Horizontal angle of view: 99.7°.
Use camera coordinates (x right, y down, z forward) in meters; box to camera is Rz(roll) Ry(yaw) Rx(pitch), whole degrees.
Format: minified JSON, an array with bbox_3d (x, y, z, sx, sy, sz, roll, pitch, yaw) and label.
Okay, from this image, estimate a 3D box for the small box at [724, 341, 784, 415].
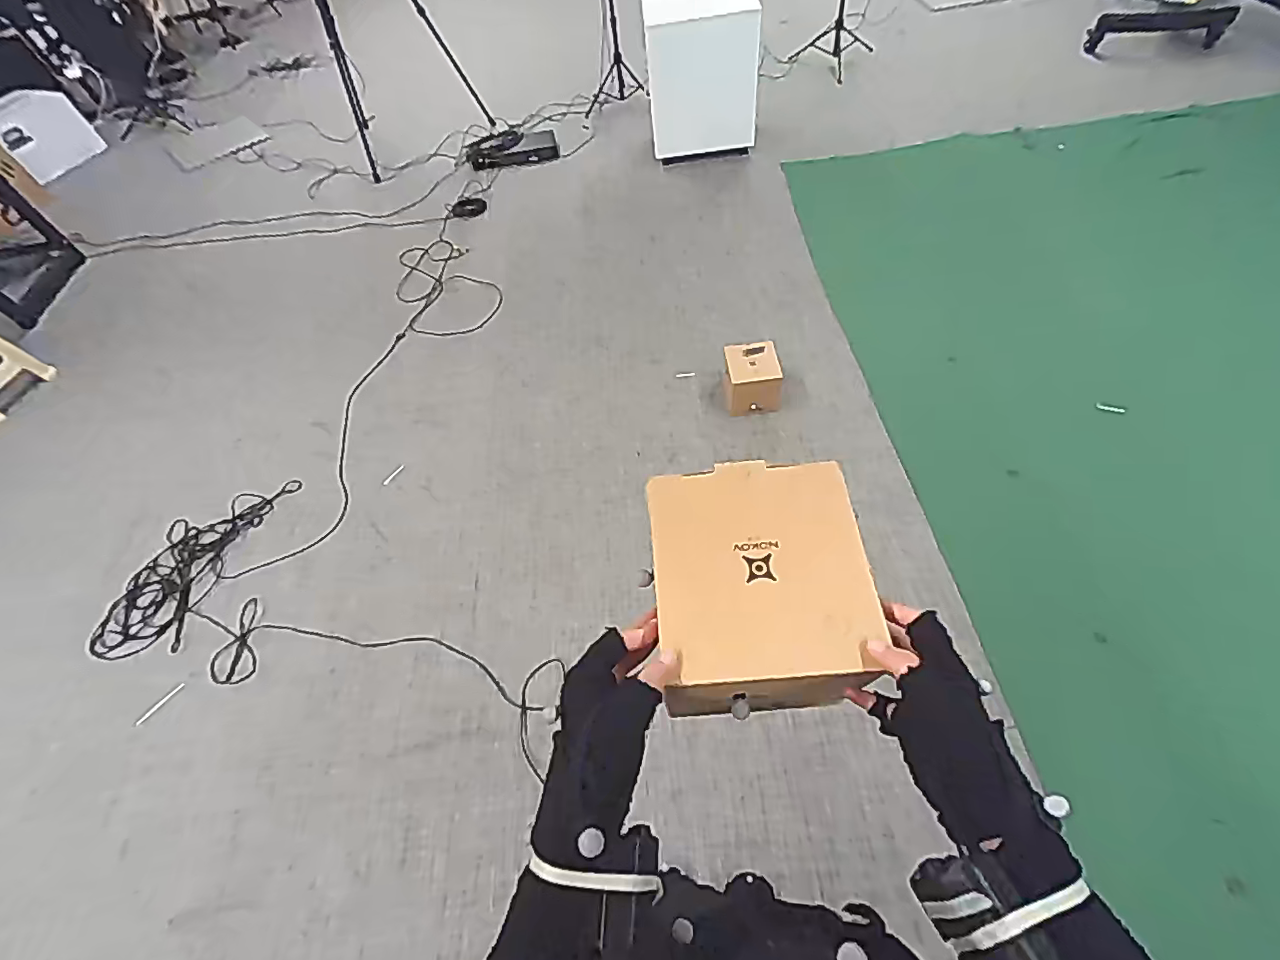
[{"bbox_3d":[0.380,-0.344,1.840,0.168,0.176,0.179,-7,57,2],"label":"small box"}]
